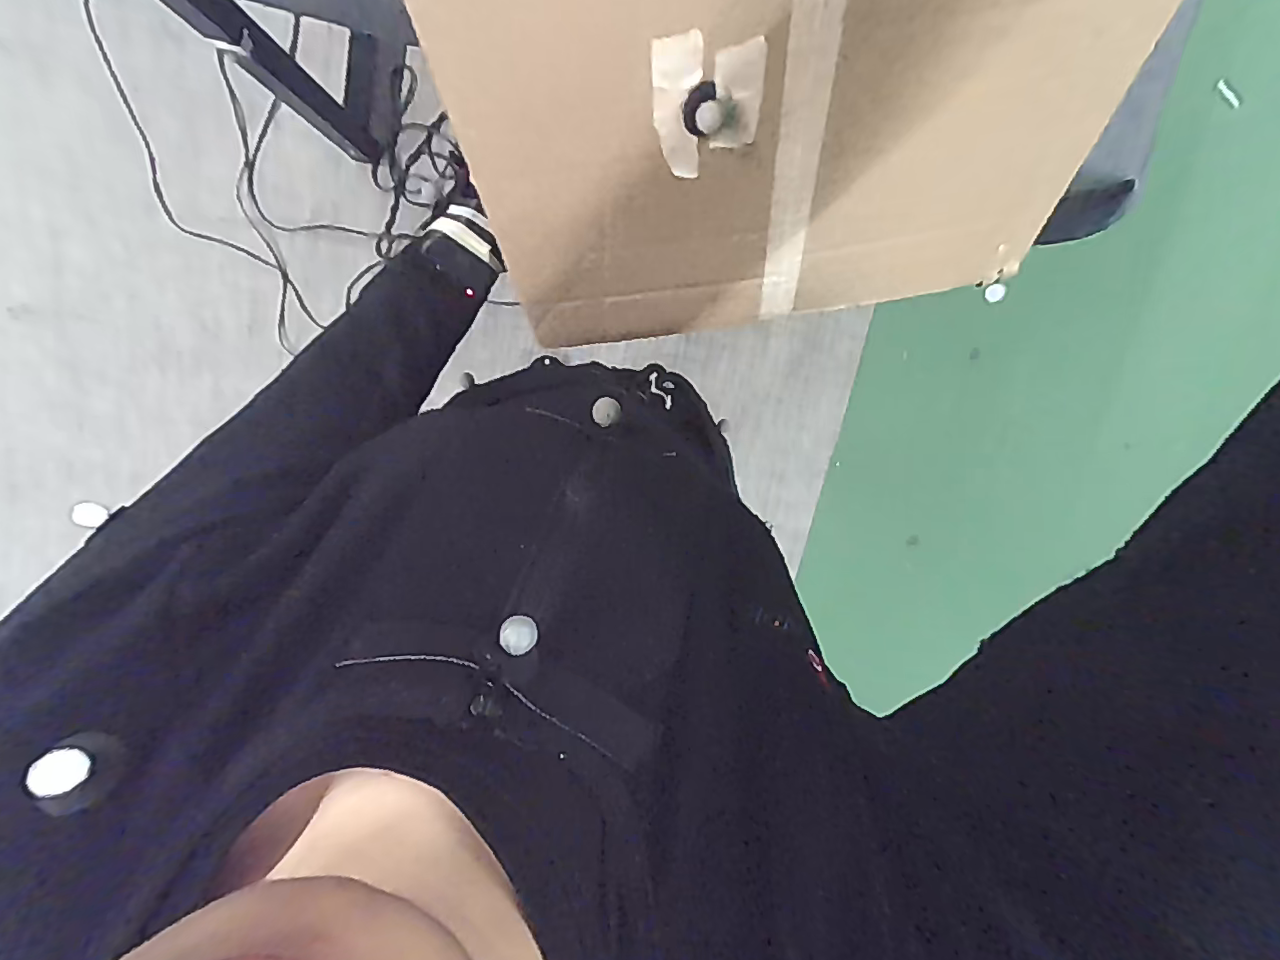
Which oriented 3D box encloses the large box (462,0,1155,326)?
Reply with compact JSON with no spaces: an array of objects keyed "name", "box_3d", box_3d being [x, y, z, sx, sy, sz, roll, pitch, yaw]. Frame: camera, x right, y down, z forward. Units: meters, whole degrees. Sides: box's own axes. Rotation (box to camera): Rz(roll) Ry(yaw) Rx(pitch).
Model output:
[{"name":"large box","box_3d":[0.058,-0.353,0.267,0.320,0.408,0.320,-9,62,3]}]
